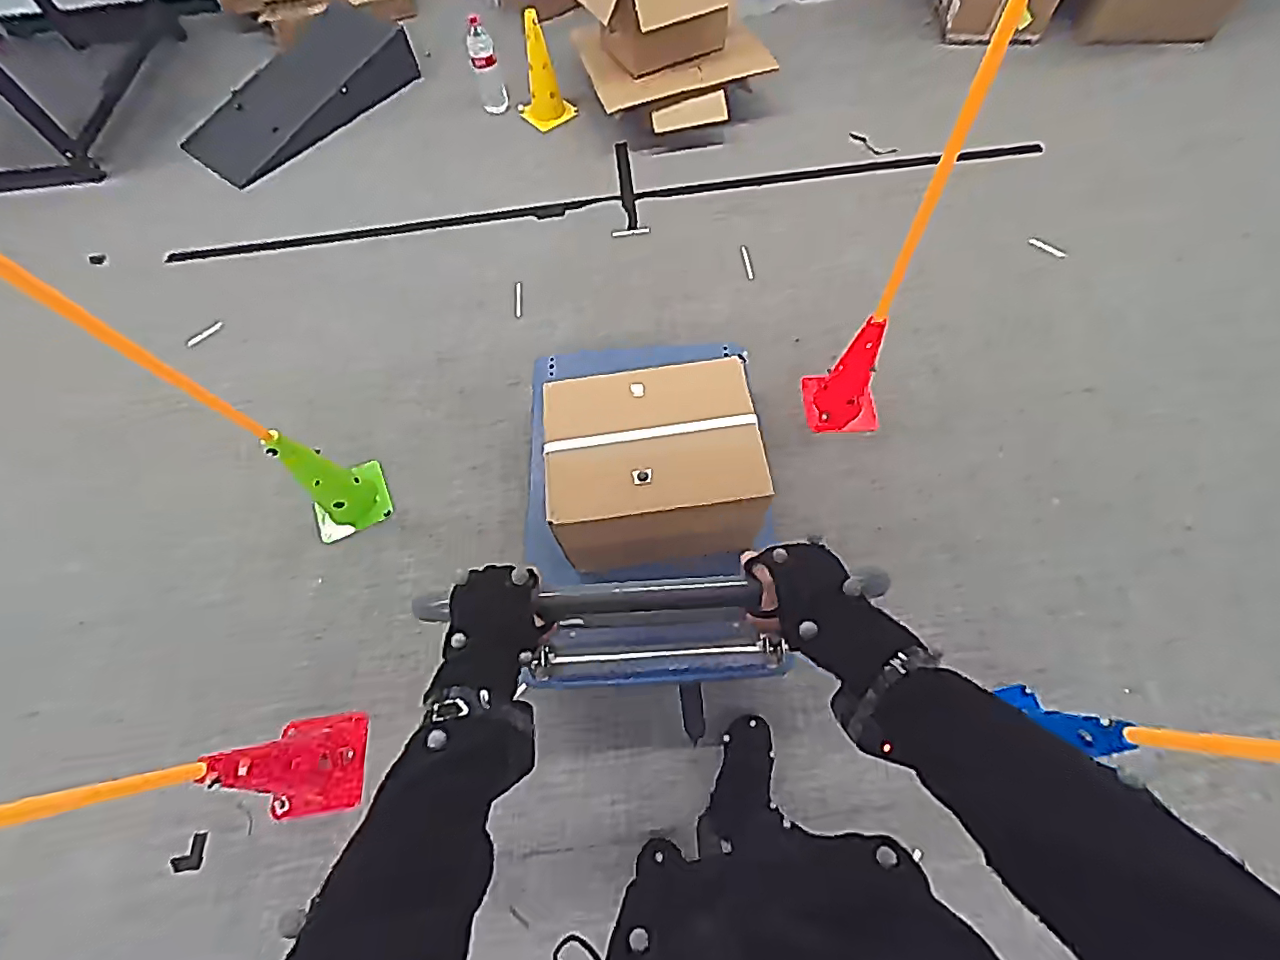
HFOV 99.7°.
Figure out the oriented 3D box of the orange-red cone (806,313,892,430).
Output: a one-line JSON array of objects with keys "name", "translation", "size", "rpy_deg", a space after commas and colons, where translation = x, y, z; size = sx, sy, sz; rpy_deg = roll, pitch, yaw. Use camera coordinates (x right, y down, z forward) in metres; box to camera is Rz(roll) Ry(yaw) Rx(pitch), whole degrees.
[{"name": "orange-red cone", "translation": [0.587, -0.306, 1.433], "size": [0.199, 0.360, 0.198], "rpy_deg": [0, 64, 2]}]
